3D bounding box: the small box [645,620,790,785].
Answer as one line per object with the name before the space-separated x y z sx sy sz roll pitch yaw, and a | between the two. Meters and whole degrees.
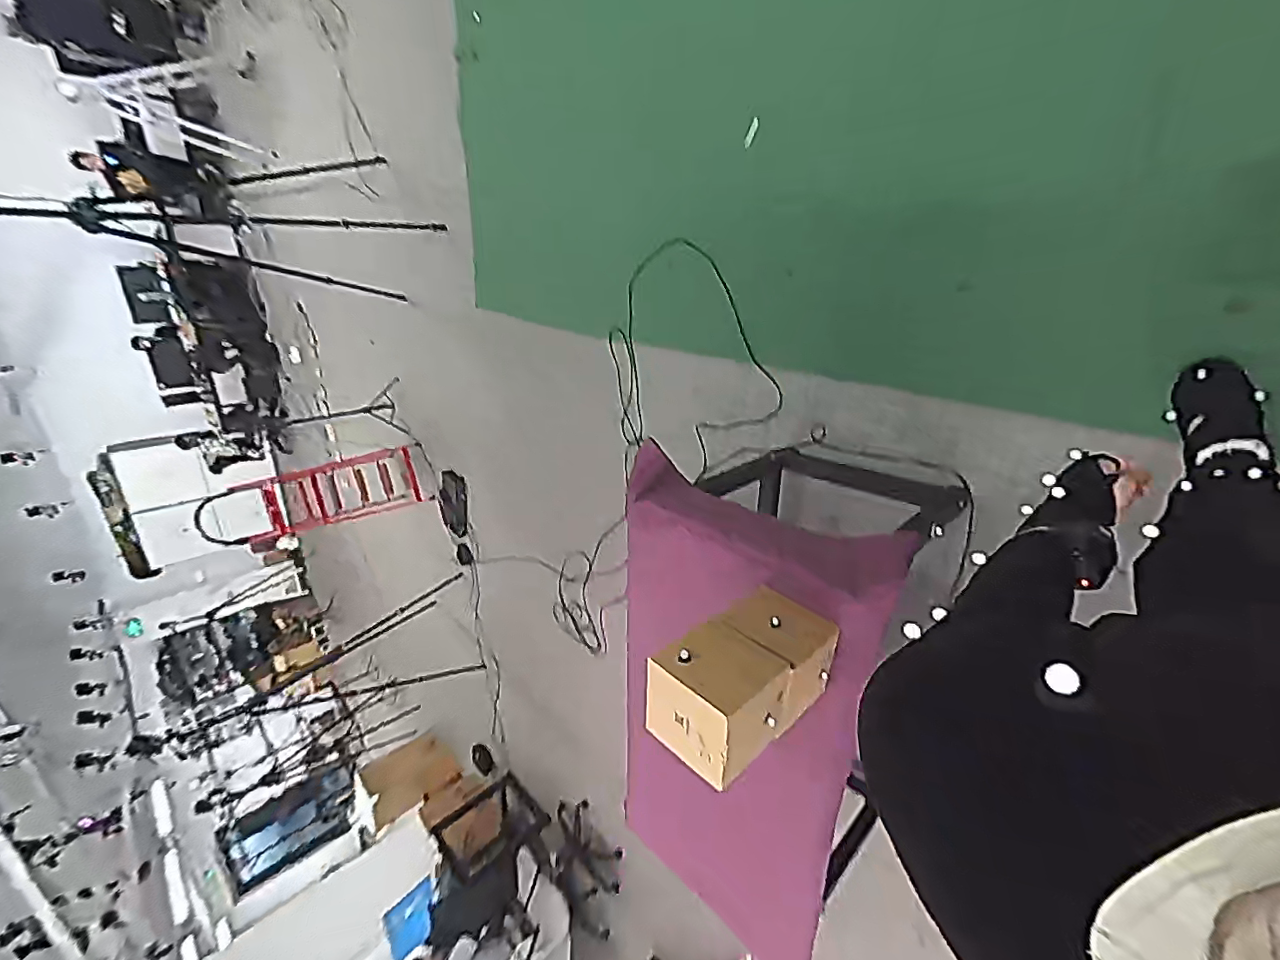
small box | 0.130 0.369 0.938 0.179 0.176 0.168 24 123 40
